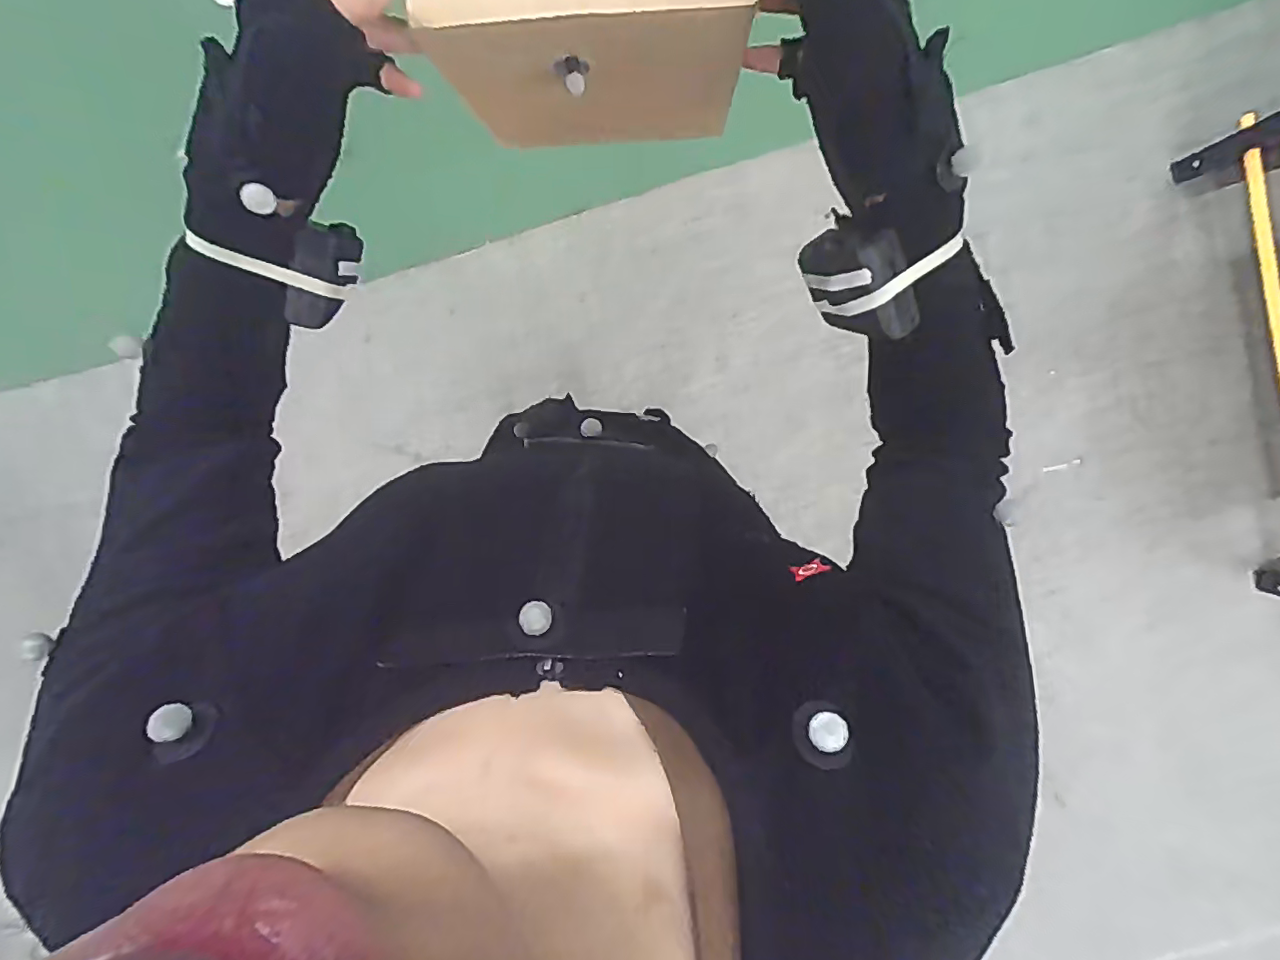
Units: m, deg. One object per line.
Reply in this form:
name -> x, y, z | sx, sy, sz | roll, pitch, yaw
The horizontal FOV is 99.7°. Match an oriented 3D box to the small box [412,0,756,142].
small box -> -0.025, -0.325, 0.328 | 0.179, 0.176, 0.168 | -1, 104, 3
